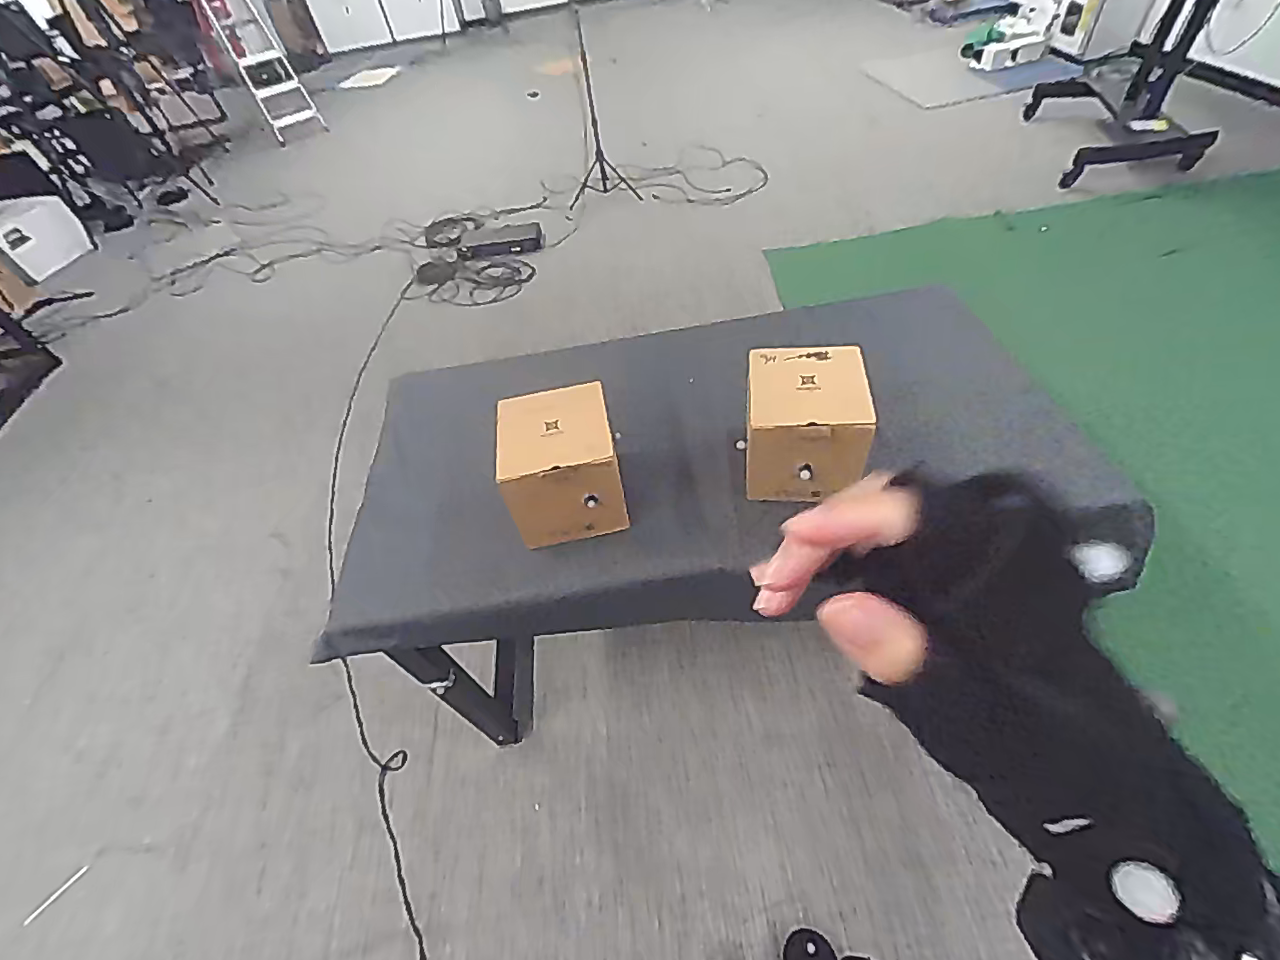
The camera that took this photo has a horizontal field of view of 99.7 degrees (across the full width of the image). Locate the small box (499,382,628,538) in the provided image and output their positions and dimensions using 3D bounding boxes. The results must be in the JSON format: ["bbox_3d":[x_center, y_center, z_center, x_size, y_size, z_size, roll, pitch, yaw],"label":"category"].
[{"bbox_3d":[-0.118,-0.025,0.857,0.168,0.176,0.179,-11,47,-3],"label":"small box"}]

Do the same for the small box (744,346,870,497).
[{"bbox_3d":[0.251,-0.088,0.851,0.168,0.176,0.179,1,51,10],"label":"small box"}]
